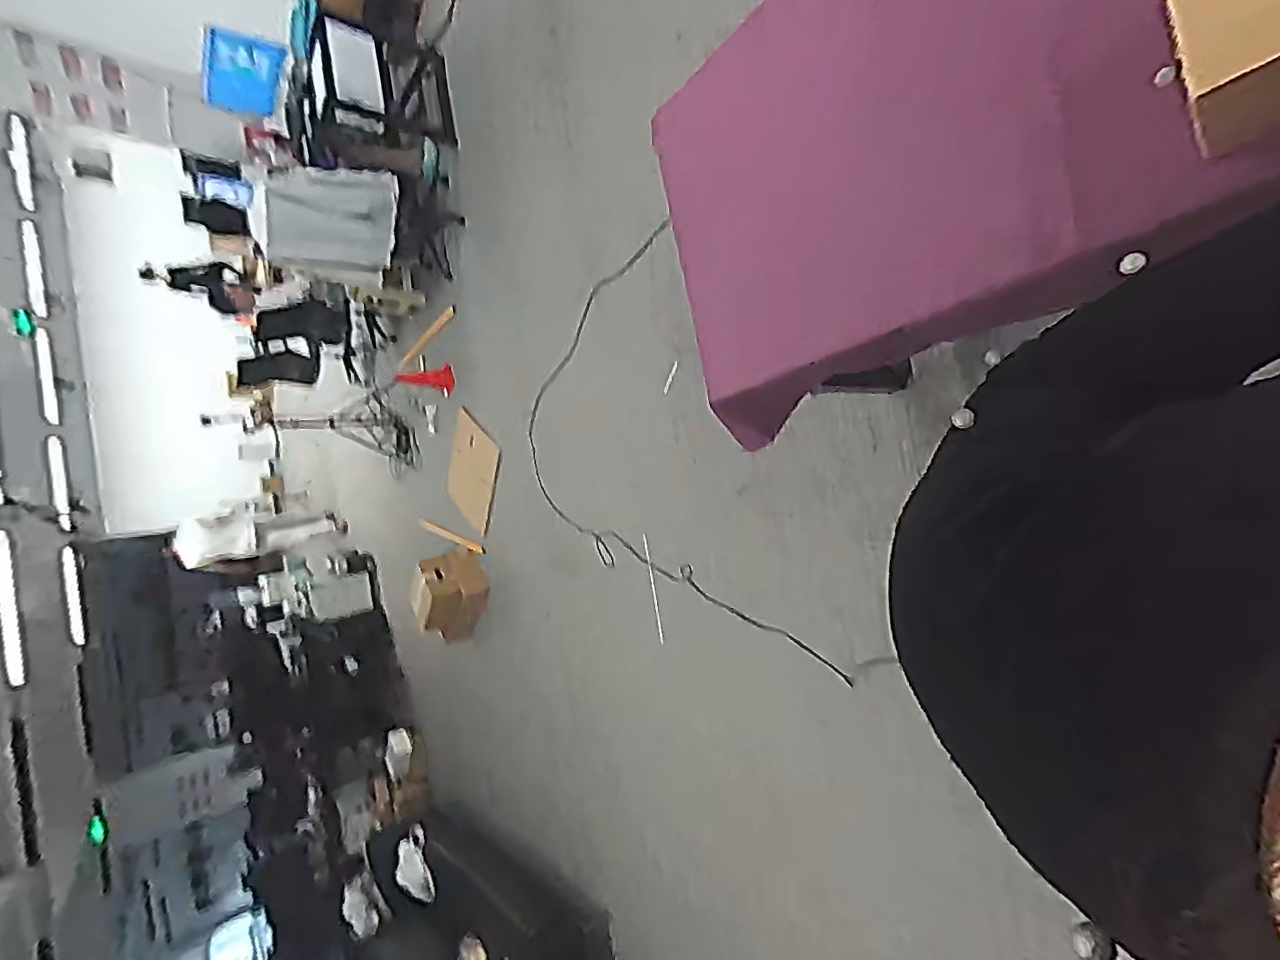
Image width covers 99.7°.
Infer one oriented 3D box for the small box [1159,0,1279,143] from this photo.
[{"bbox_3d":[0.545,-0.410,0.437,0.168,0.176,0.179,-15,84,49],"label":"small box"}]
